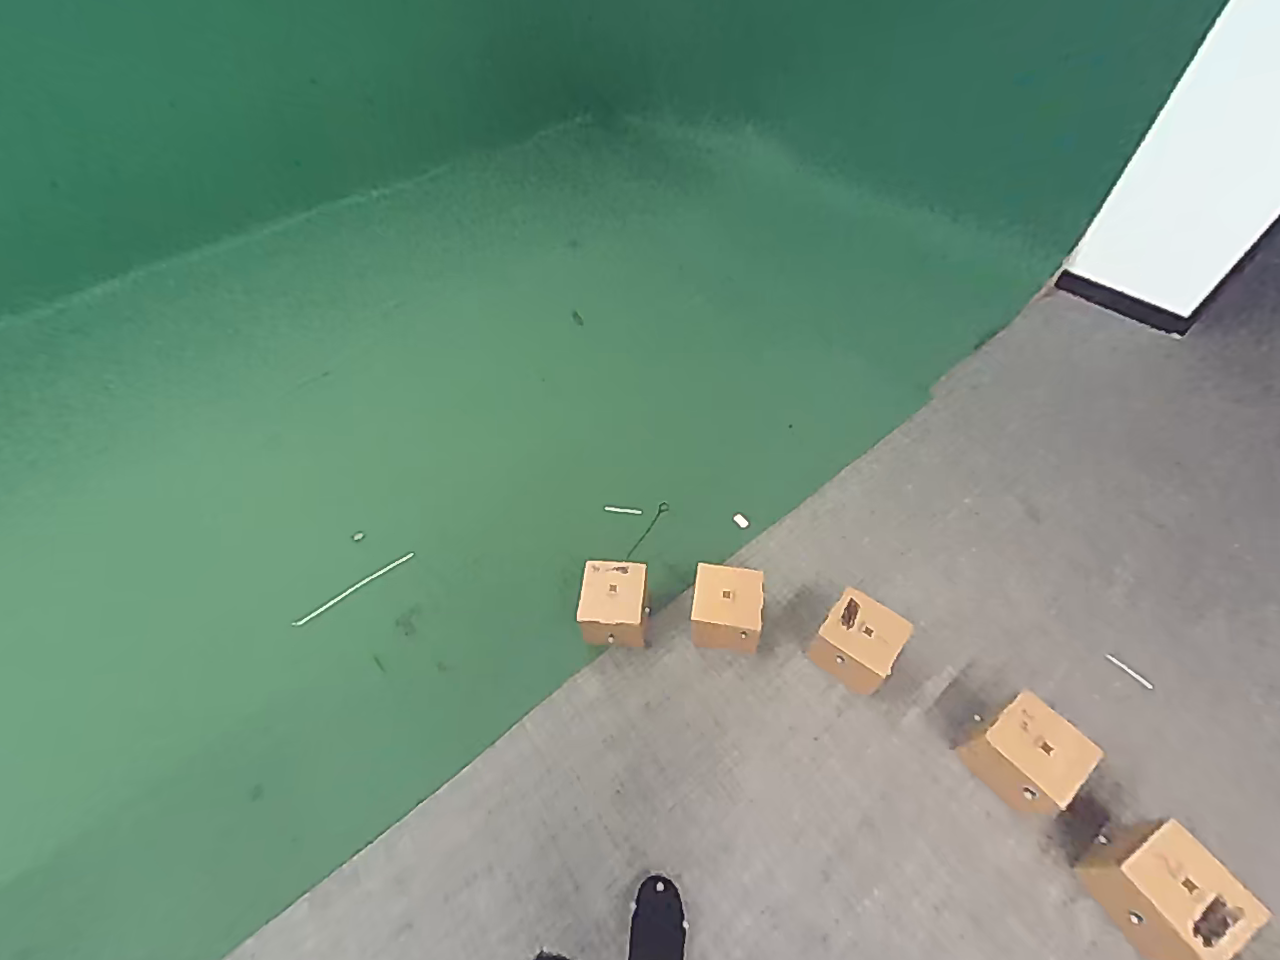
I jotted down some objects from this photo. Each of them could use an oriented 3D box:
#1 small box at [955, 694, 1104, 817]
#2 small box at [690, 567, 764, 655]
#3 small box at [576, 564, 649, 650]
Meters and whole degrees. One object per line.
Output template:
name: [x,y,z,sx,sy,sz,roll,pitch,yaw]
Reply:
small box: [0.848,0.613,1.196,0.168,0.176,0.179,-33,57,-20]
small box: [0.230,0.354,1.445,0.179,0.176,0.168,7,53,9]
small box: [-0.068,0.348,1.469,0.168,0.176,0.179,3,54,6]
